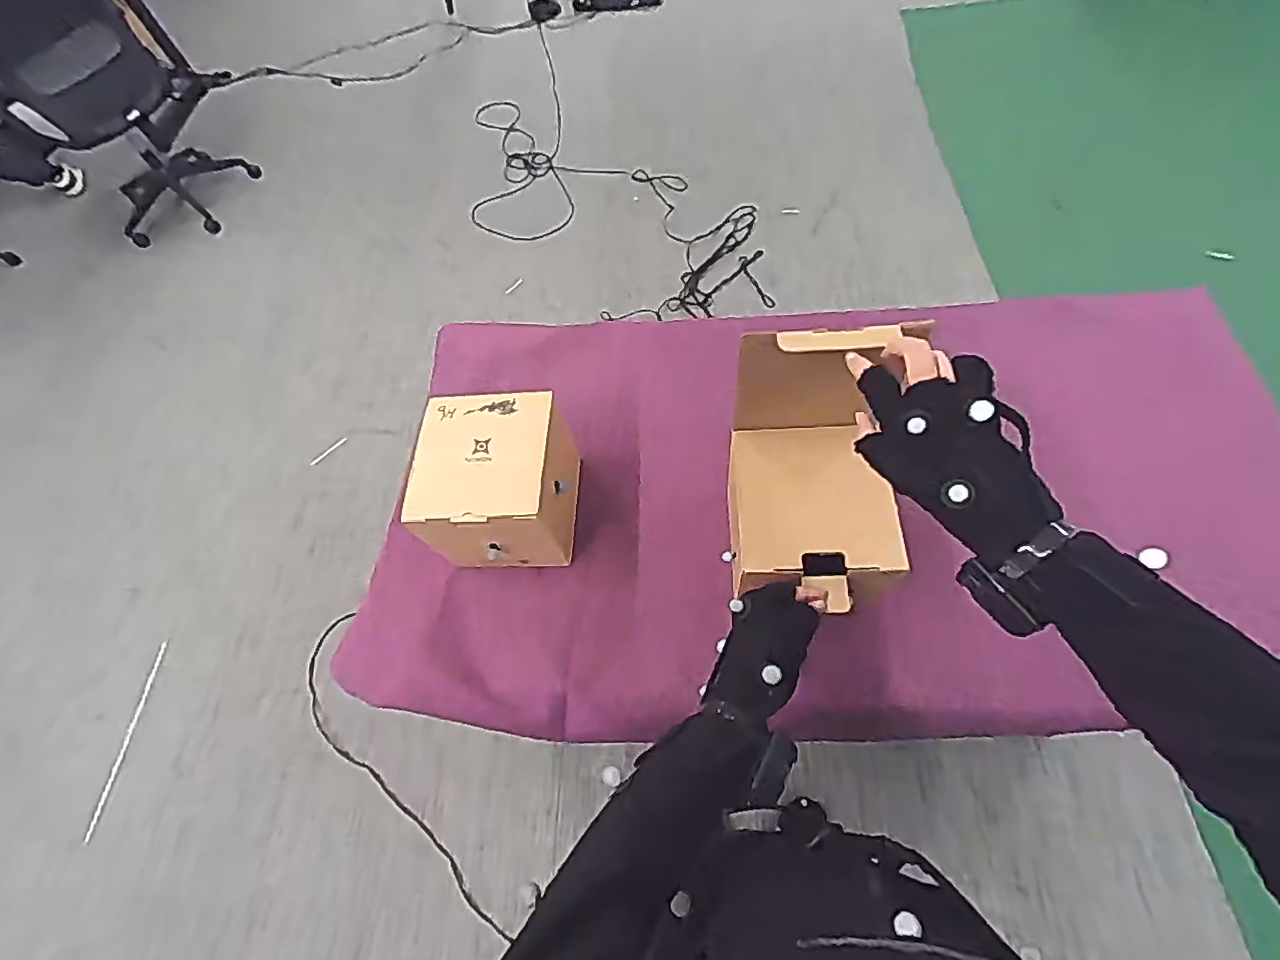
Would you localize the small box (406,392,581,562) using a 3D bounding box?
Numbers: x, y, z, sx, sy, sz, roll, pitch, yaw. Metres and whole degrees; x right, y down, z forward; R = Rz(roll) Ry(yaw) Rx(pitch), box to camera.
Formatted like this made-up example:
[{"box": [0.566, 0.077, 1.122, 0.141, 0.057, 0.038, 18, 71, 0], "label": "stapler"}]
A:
[{"box": [-0.178, 0.005, 0.720, 0.168, 0.176, 0.179, -2, 63, 6], "label": "small box"}]

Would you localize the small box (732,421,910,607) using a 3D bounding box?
[{"box": [0.197, 0.050, 0.645, 0.168, 0.176, 0.179, -2, 62, 6], "label": "small box"}]
